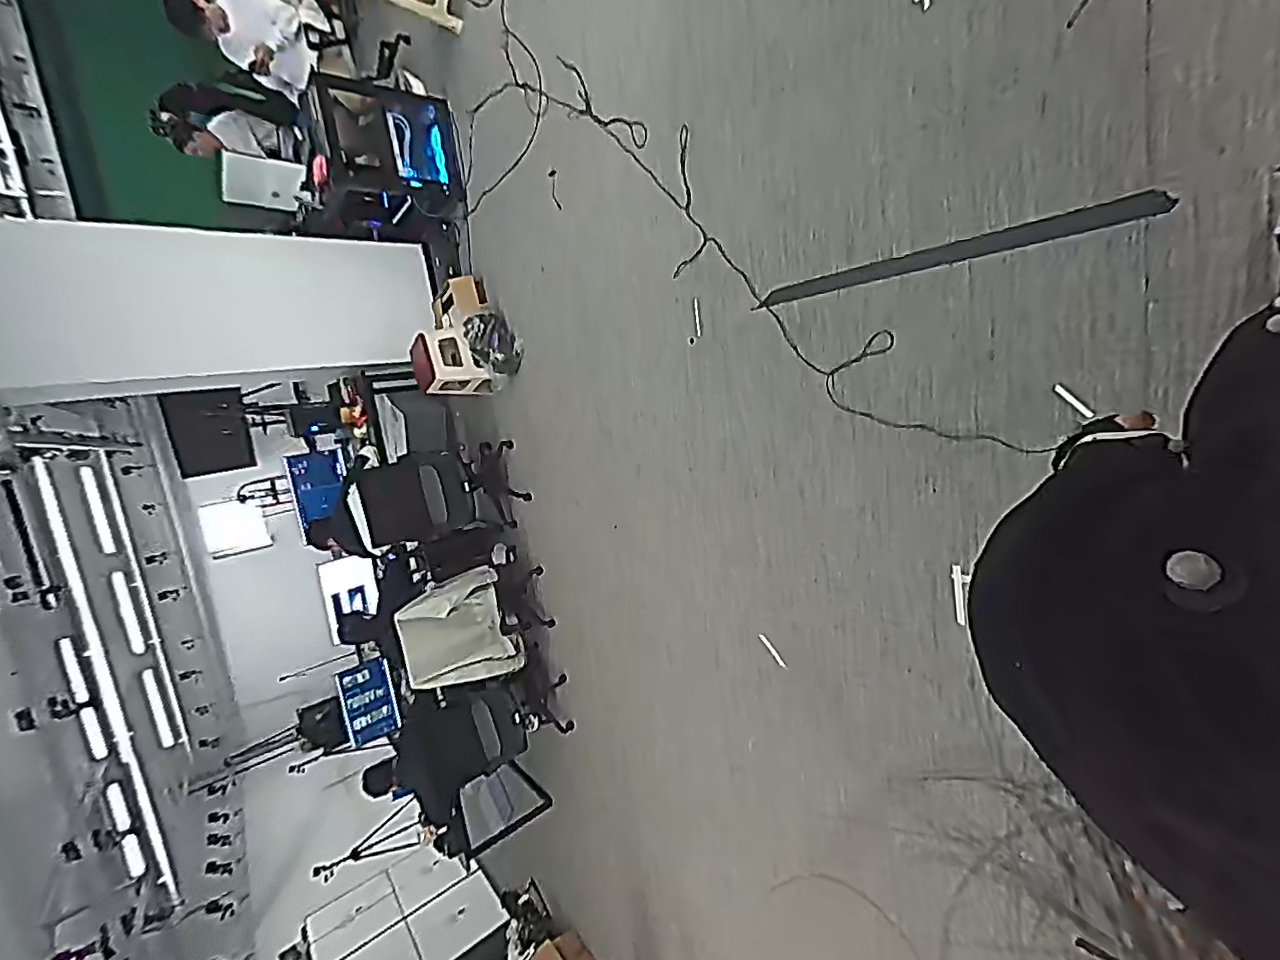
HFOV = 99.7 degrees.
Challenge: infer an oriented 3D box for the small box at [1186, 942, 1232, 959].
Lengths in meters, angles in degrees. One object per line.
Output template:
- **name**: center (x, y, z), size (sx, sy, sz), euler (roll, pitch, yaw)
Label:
- **small box**: center (1.285, 1.167, 1.160), size (0.168, 0.176, 0.179), euler (1, 103, 53)
